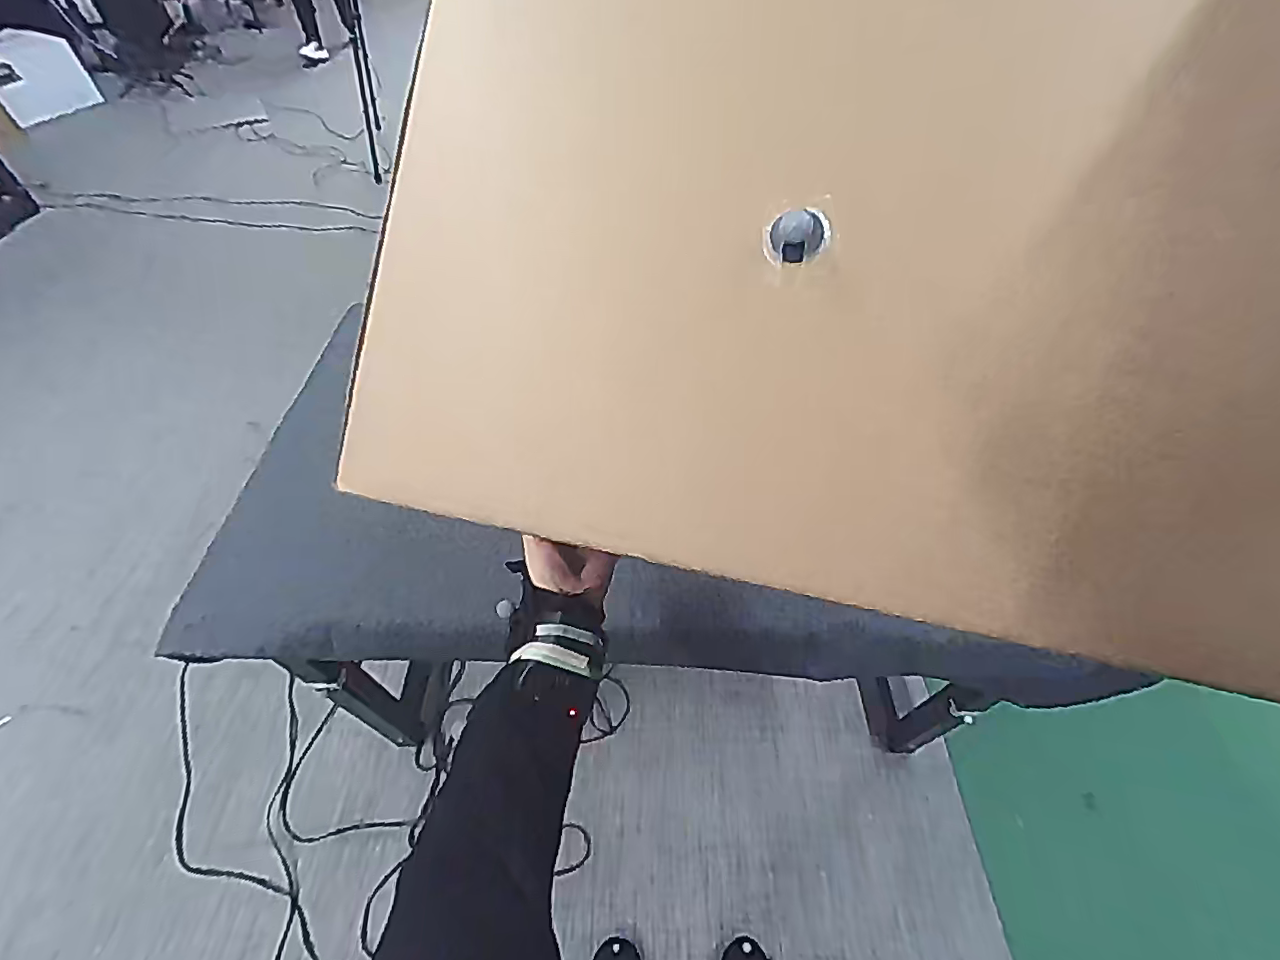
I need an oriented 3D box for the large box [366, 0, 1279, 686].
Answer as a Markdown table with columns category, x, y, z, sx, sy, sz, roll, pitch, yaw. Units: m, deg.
| category | x | y | z | sx | sy | sz | roll | pitch | yaw |
| --- | --- | --- | --- | --- | --- | --- | --- | --- | --- |
| large box | 0.101 | -0.091 | 0.380 | 0.408 | 0.320 | 0.320 | 9 | 88 | 13 |
